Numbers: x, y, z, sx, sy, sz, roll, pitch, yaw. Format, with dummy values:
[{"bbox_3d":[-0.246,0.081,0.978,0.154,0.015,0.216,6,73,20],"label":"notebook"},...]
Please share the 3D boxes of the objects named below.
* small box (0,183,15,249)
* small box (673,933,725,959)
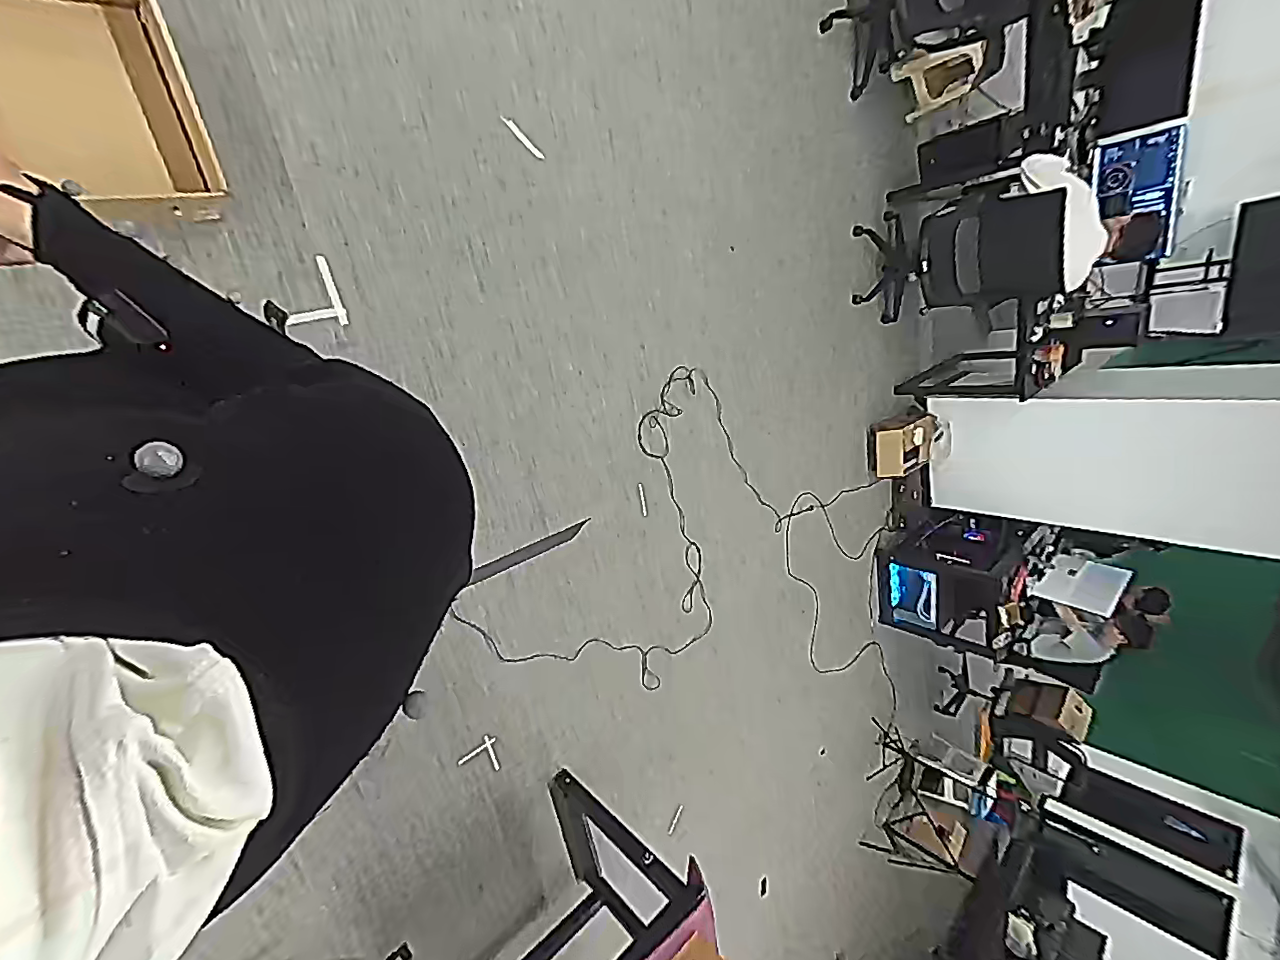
[{"bbox_3d":[-0.661,-0.264,0.425,0.179,0.176,0.168,-38,119,-37],"label":"small box"},{"bbox_3d":[0.179,1.411,1.479,0.168,0.176,0.179,-27,113,-33],"label":"small box"}]
